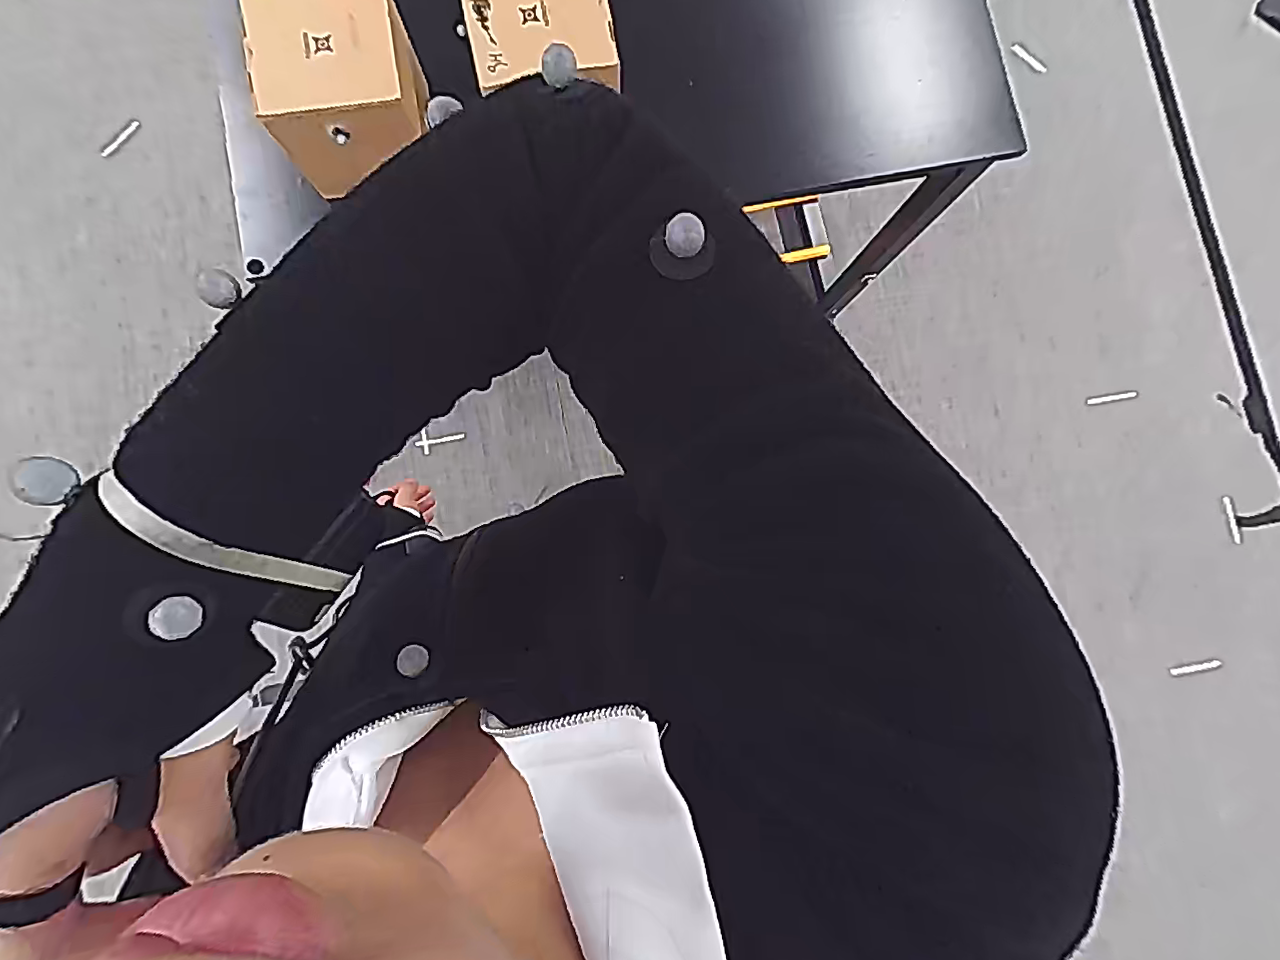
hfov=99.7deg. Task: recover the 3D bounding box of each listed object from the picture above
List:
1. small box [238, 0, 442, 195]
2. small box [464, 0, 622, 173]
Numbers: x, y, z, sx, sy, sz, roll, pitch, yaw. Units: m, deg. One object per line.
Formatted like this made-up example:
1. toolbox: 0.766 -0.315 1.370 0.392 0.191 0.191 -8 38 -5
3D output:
1. small box: -0.387 -0.511 0.724 0.179 0.176 0.168 -10 87 -5
2. small box: -0.128 -0.557 0.741 0.179 0.176 0.168 -12 85 -5
